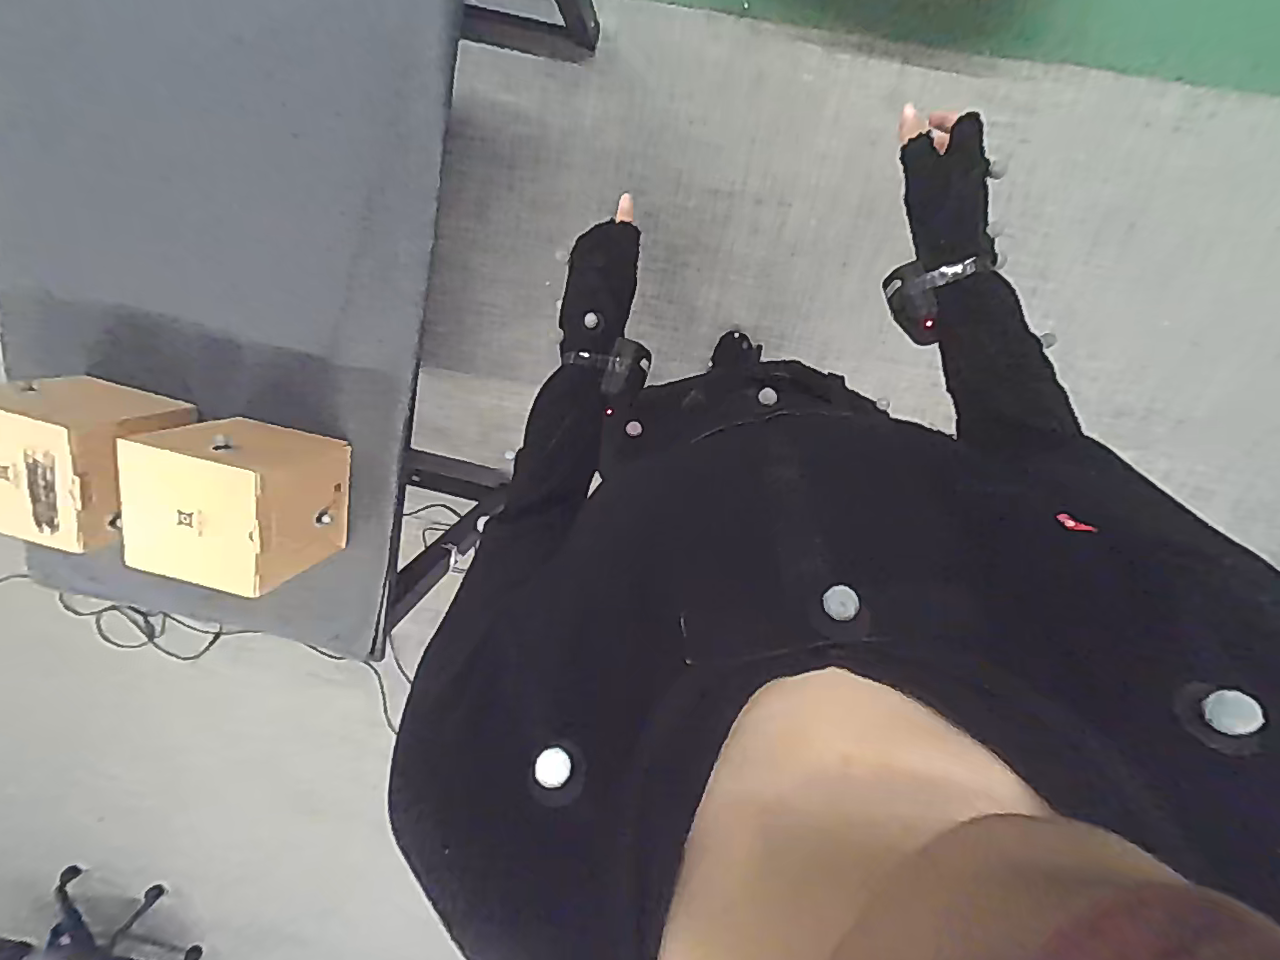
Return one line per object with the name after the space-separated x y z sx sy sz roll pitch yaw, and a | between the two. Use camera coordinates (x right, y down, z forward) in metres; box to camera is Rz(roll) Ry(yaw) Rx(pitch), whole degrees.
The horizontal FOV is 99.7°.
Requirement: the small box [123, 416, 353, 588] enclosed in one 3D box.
-0.518 0.017 0.714 0.179 0.176 0.168 13 106 3 | small box
